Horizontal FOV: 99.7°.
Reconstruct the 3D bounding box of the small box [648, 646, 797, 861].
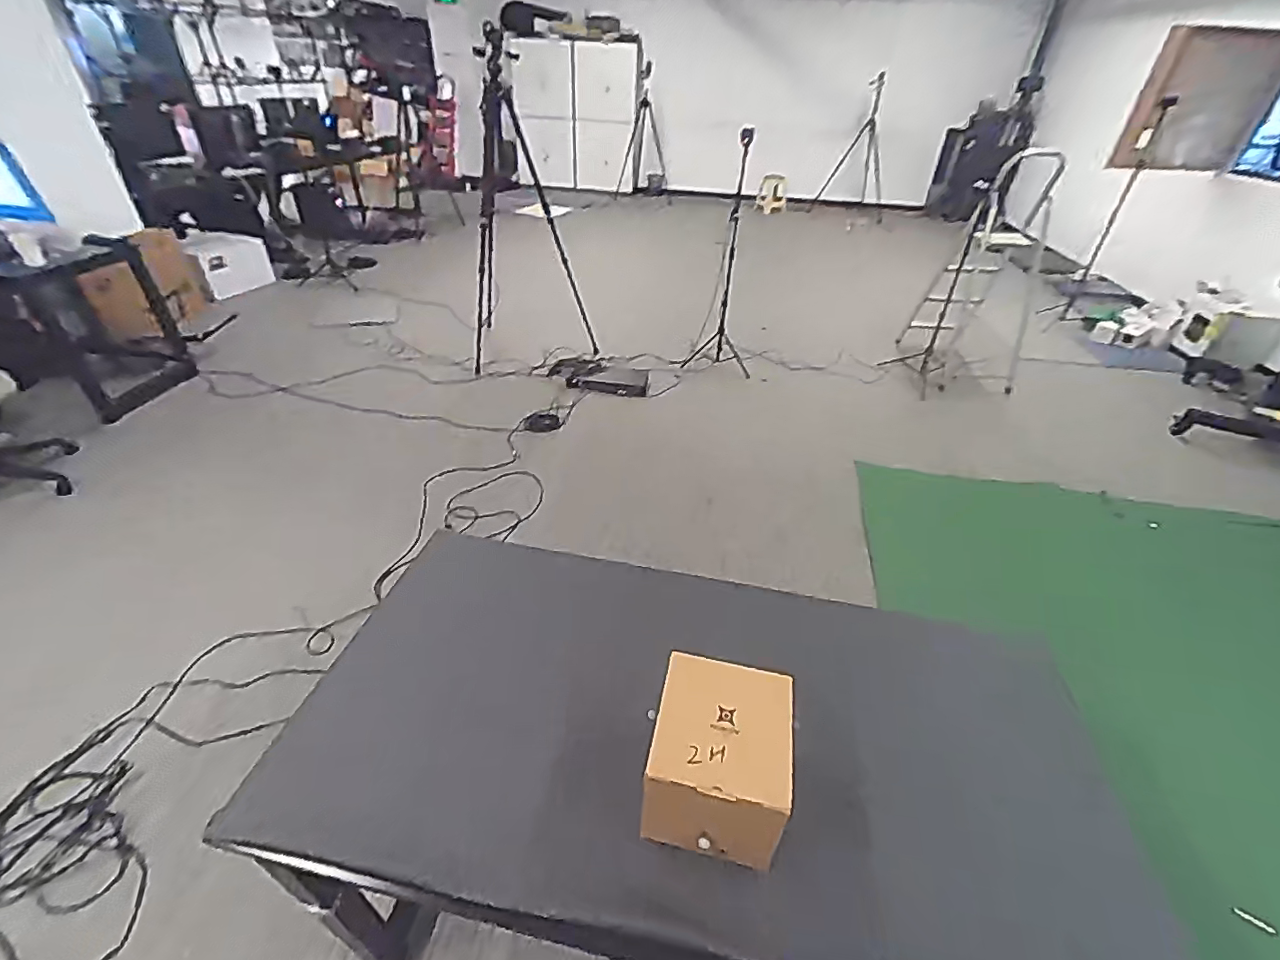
[{"bbox_3d":[0.107,0.356,0.713,0.168,0.176,0.179,9,37,10],"label":"small box"}]
